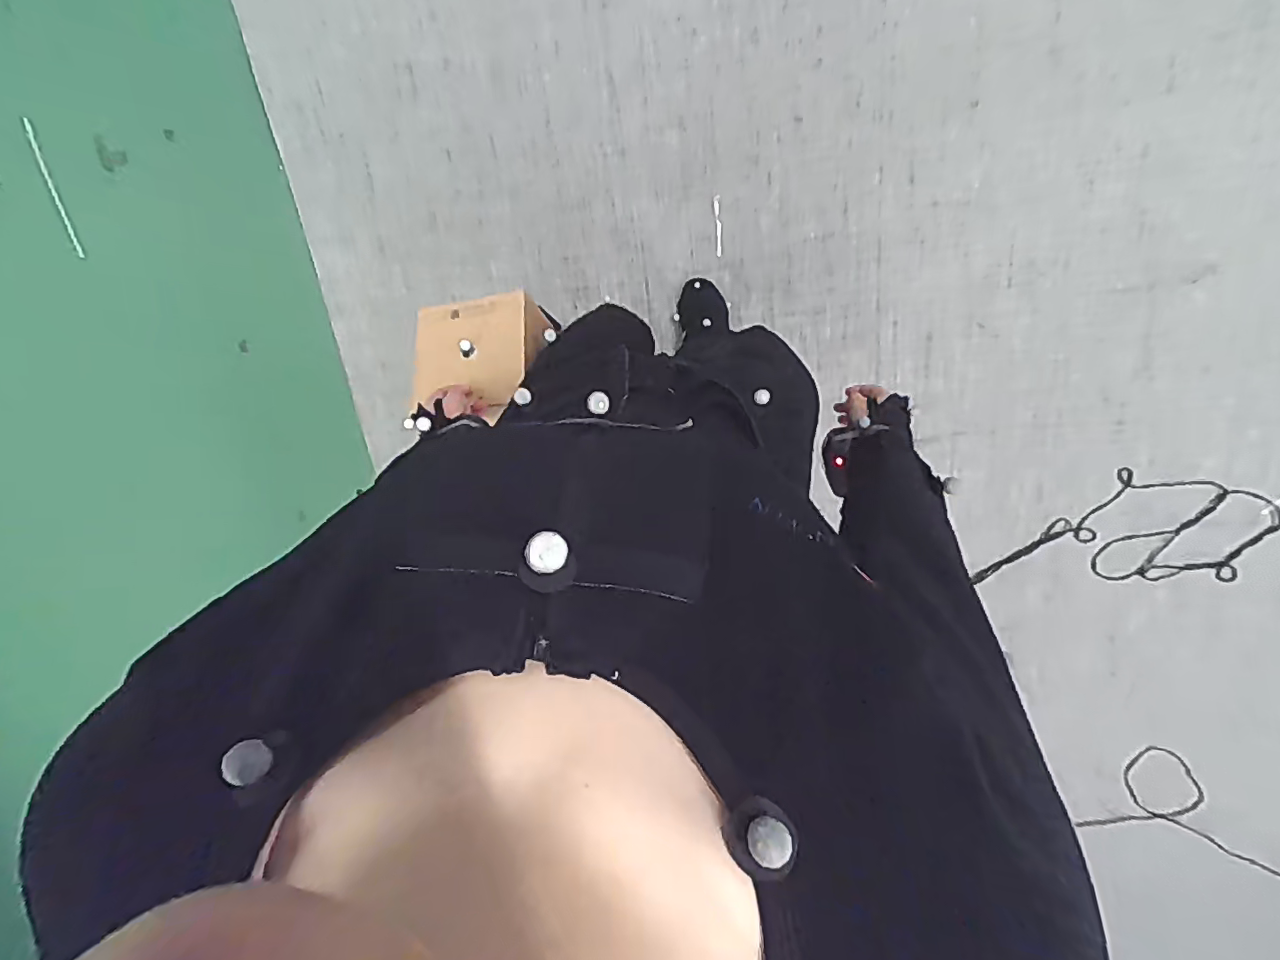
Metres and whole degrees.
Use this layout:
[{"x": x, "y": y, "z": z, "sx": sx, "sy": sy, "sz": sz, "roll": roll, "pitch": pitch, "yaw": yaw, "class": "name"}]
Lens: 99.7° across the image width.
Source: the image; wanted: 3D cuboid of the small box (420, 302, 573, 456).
[{"x": -0.214, "y": -0.150, "z": 0.816, "sx": 0.168, "sy": 0.179, "sz": 0.176, "roll": -9, "pitch": 77, "yaw": 12, "class": "small box"}]
